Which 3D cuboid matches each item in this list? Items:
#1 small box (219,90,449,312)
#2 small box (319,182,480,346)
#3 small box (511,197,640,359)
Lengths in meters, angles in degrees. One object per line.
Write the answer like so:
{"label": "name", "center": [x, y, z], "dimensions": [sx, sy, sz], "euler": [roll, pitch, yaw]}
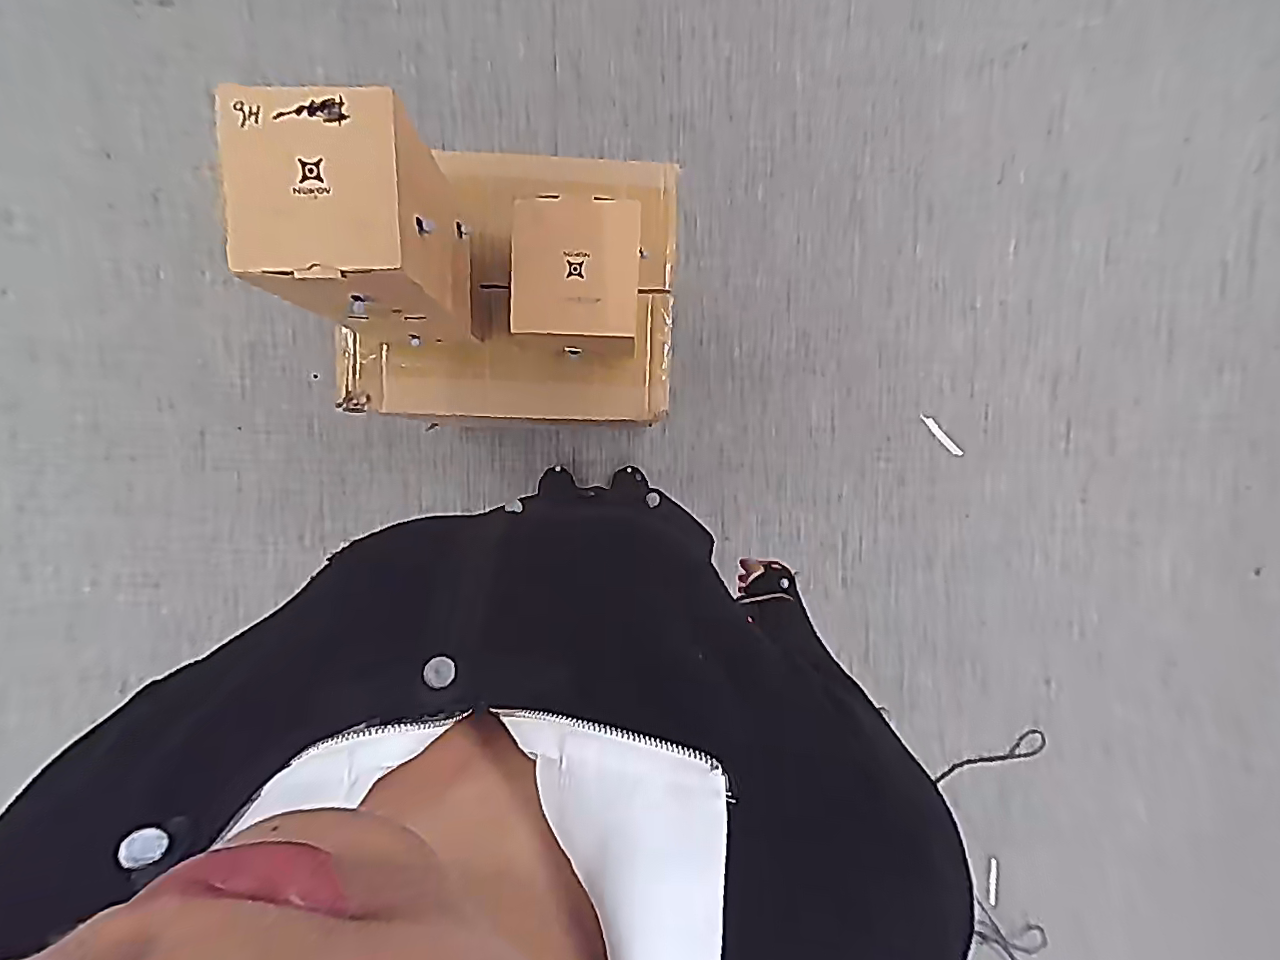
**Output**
{"label": "small box", "center": [-0.319, -0.290, 0.600], "dimensions": [0.168, 0.176, 0.179], "euler": [-2, 94, -3]}
{"label": "small box", "center": [-0.328, -0.296, 0.764], "dimensions": [0.168, 0.176, 0.179], "euler": [0, 93, -3]}
{"label": "small box", "center": [-0.085, -0.278, 0.777], "dimensions": [0.168, 0.176, 0.179], "euler": [1, 94, 0]}
